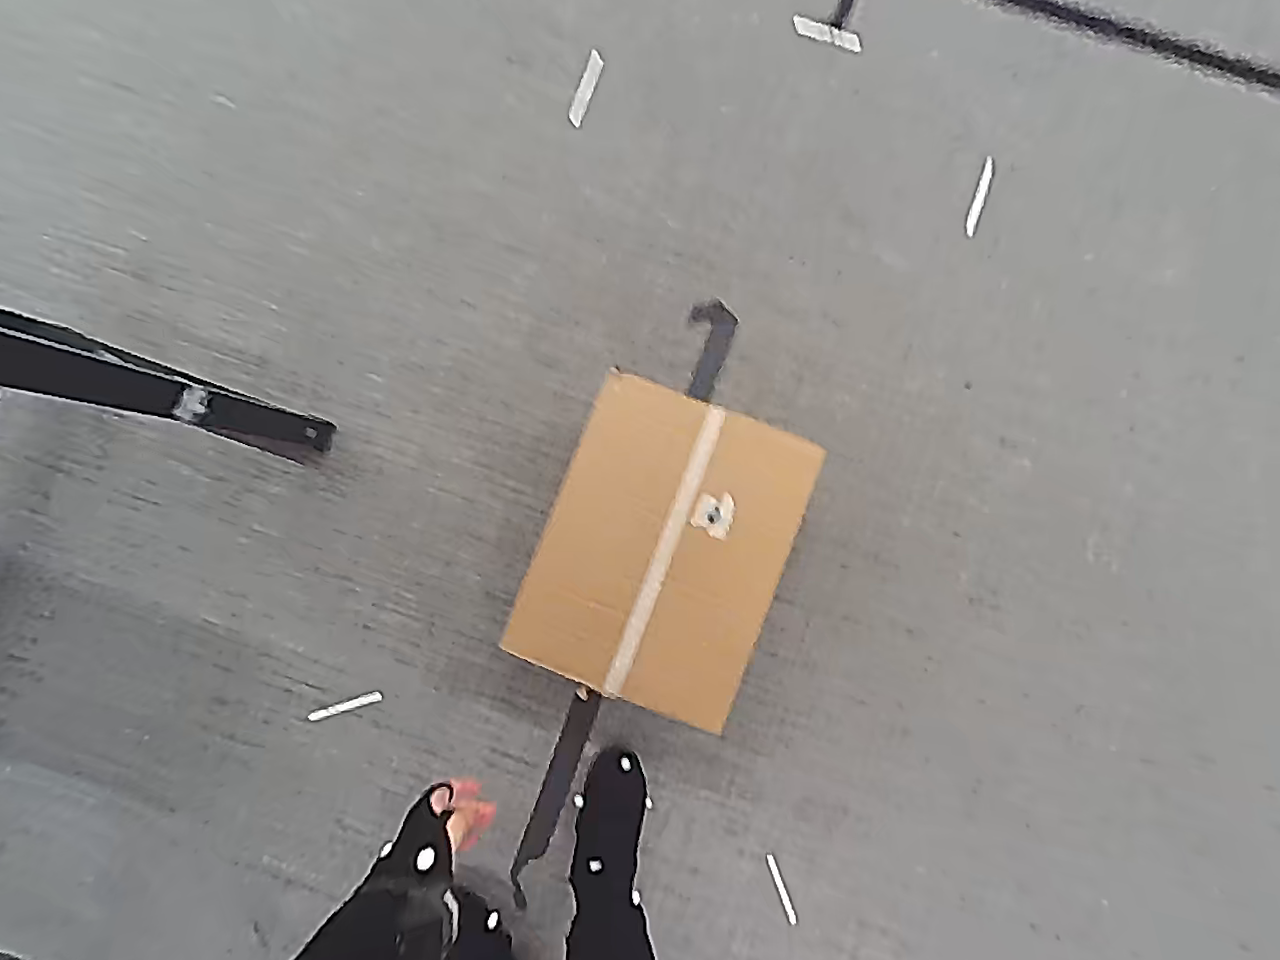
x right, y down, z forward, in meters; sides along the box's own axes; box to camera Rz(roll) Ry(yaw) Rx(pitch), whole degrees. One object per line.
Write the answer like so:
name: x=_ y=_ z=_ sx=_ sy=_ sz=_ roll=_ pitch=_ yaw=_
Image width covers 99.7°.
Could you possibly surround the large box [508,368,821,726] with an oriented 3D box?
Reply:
large box: x=0.036 y=0.097 z=0.867 sx=0.320 sy=0.320 sz=0.408 roll=22 pitch=86 yaw=1
